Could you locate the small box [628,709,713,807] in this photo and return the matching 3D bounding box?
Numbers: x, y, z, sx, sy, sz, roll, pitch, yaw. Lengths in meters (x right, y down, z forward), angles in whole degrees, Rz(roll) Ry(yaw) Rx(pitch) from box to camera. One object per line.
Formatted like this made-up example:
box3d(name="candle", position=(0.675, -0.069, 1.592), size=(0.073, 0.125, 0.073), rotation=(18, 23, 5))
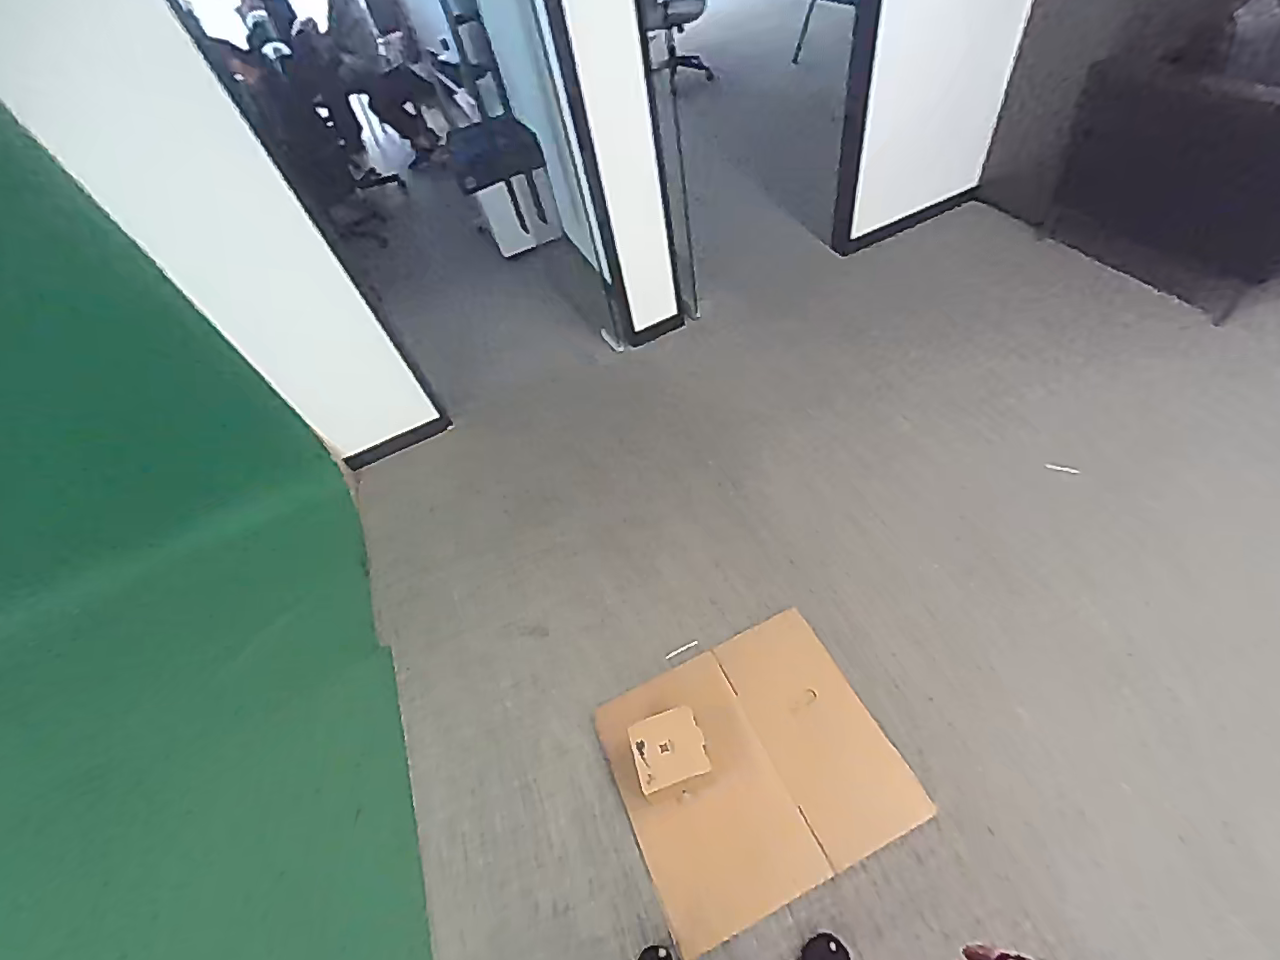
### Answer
box3d(name="small box", position=(0.083, 0.720, 1.395), size=(0.179, 0.176, 0.168), rotation=(-18, 50, -2))
